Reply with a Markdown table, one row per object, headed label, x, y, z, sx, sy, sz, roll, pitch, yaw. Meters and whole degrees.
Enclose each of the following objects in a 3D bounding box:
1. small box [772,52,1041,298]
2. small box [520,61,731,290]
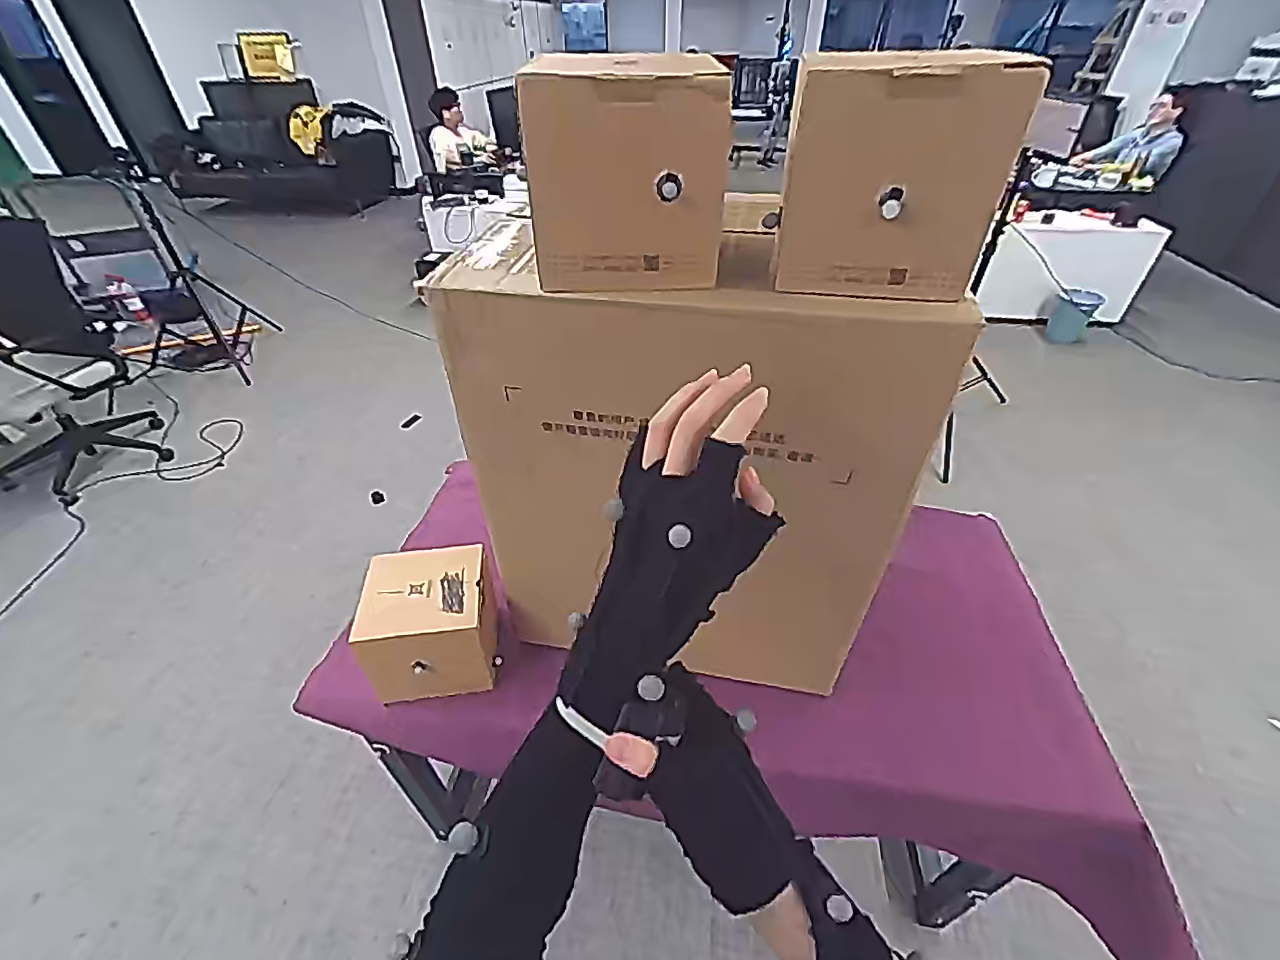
| label | x | y | z | sx | sy | sz | roll | pitch | yaw |
| --- | --- | --- | --- | --- | --- | --- | --- | --- | --- |
| small box | 0.219 | -0.282 | 0.502 | 0.168 | 0.176 | 0.179 | 7 | 42 | 9 |
| small box | -0.012 | -0.294 | 0.524 | 0.168 | 0.176 | 0.179 | -1 | 40 | -2 |
